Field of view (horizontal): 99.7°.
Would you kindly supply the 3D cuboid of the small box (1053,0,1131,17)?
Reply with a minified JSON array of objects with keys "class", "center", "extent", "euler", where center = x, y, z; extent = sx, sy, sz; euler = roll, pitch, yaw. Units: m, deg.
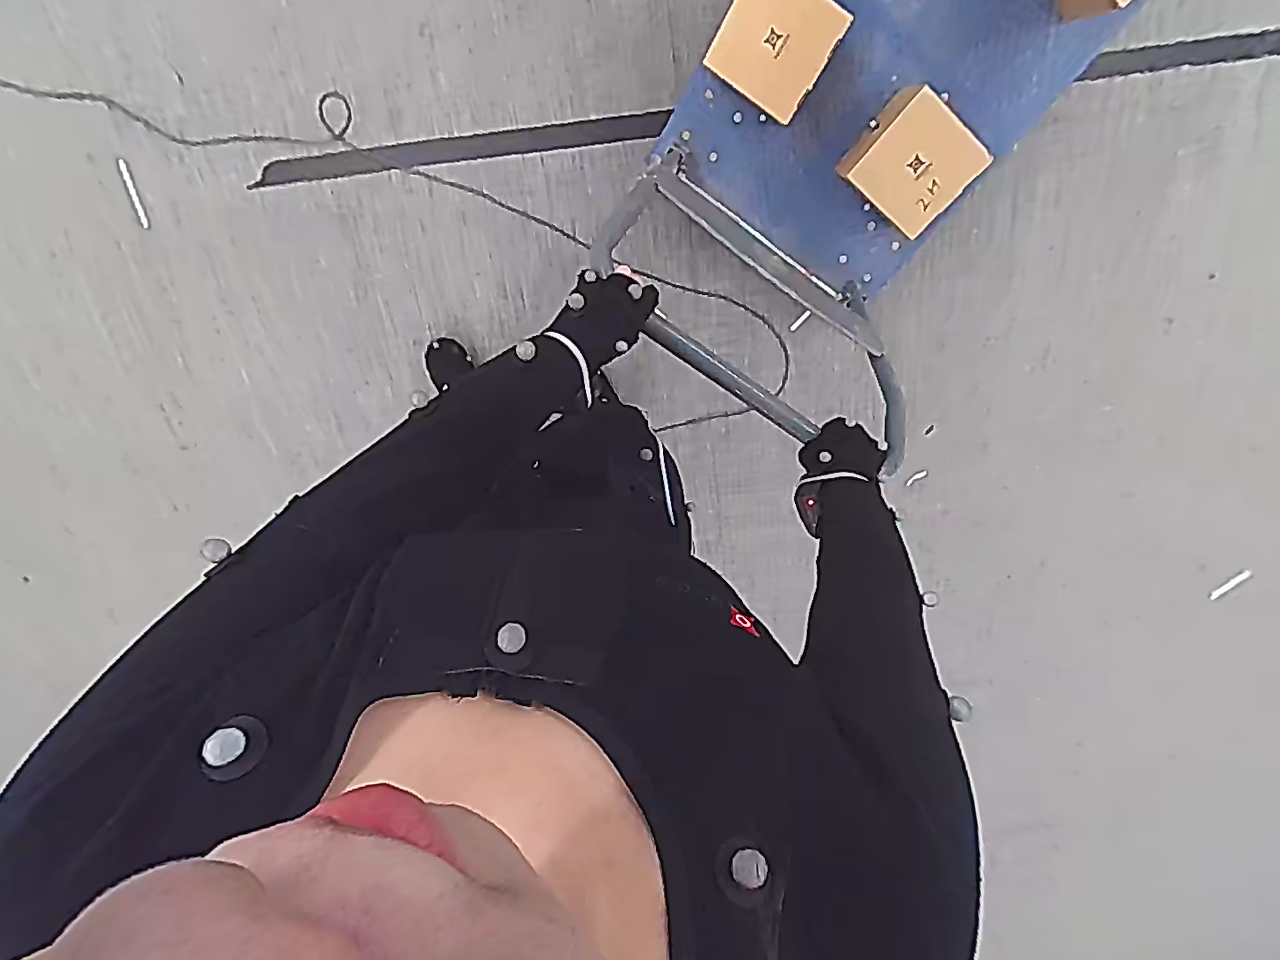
[{"class":"small box","center":[0.713,-0.828,0.784],"extent":[0.168,0.176,0.179],"euler":[41,122,-17]}]

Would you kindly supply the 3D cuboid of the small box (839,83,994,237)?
[{"class":"small box","center":[0.491,-0.583,0.992],"extent":[0.179,0.176,0.168],"euler":[35,123,-14]}]

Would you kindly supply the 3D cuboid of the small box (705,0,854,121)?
[{"class":"small box","center":[0.229,-0.750,0.927],"extent":[0.179,0.176,0.168],"euler":[29,124,-12]}]
